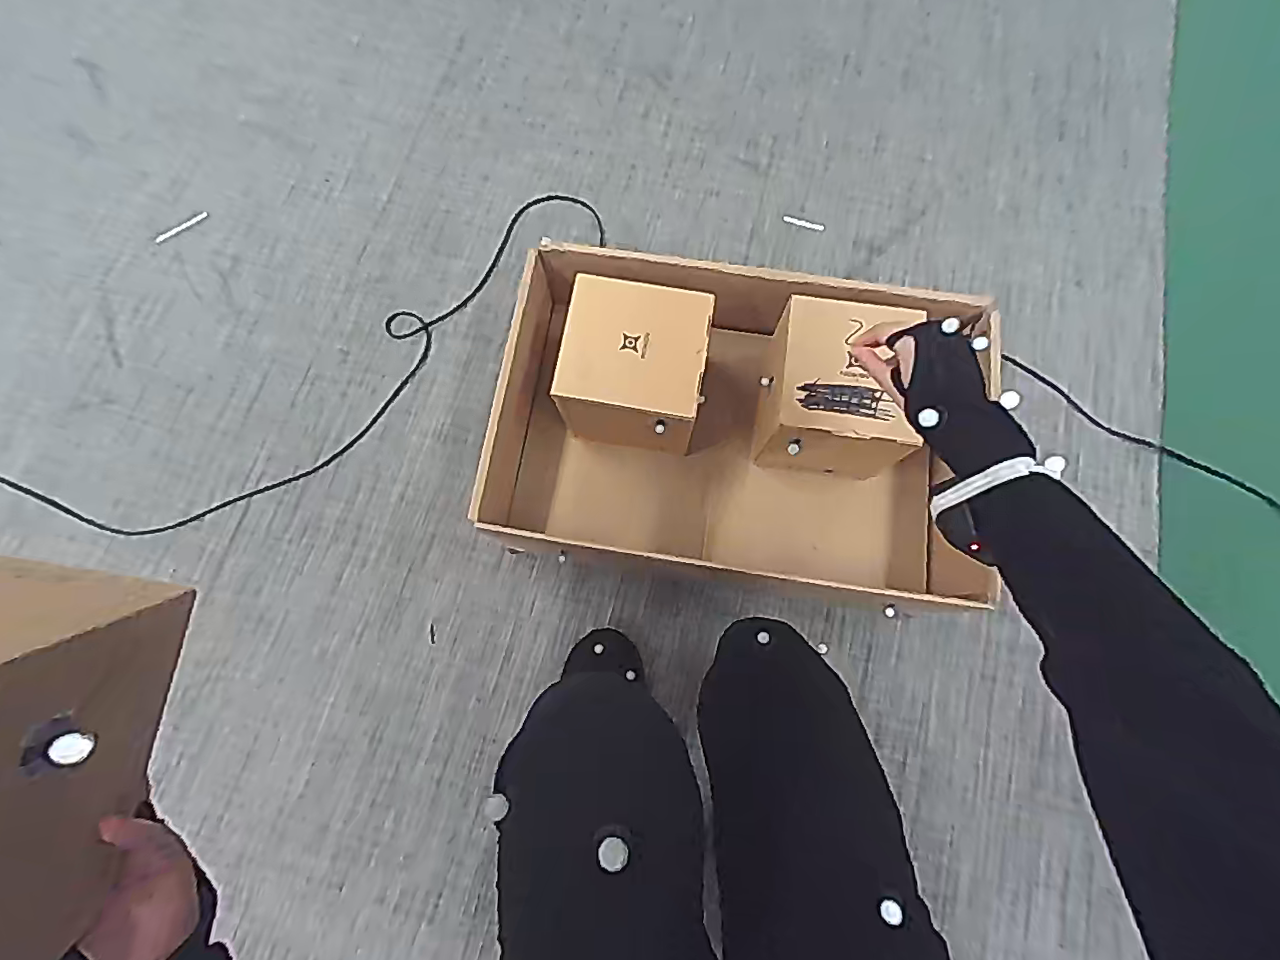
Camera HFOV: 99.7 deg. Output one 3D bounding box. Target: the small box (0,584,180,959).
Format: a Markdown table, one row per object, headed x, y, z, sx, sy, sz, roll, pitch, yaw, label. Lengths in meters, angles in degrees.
| x | y | z | sx | sy | sz | roll | pitch | yaw | label |
| --- | --- | --- | --- | --- | --- | --- | --- | --- | --- |
| -0.323 | 0.132 | 0.199 | 0.168 | 0.176 | 0.179 | 14 | 87 | -13 | small box |

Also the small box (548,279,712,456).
| x | y | z | sx | sy | sz | roll | pitch | yaw | label |
| --- | --- | --- | --- | --- | --- | --- | --- | --- | --- |
| -0.011 | -0.141 | 0.728 | 0.179 | 0.176 | 0.168 | 10 | 77 | 2 | small box |
